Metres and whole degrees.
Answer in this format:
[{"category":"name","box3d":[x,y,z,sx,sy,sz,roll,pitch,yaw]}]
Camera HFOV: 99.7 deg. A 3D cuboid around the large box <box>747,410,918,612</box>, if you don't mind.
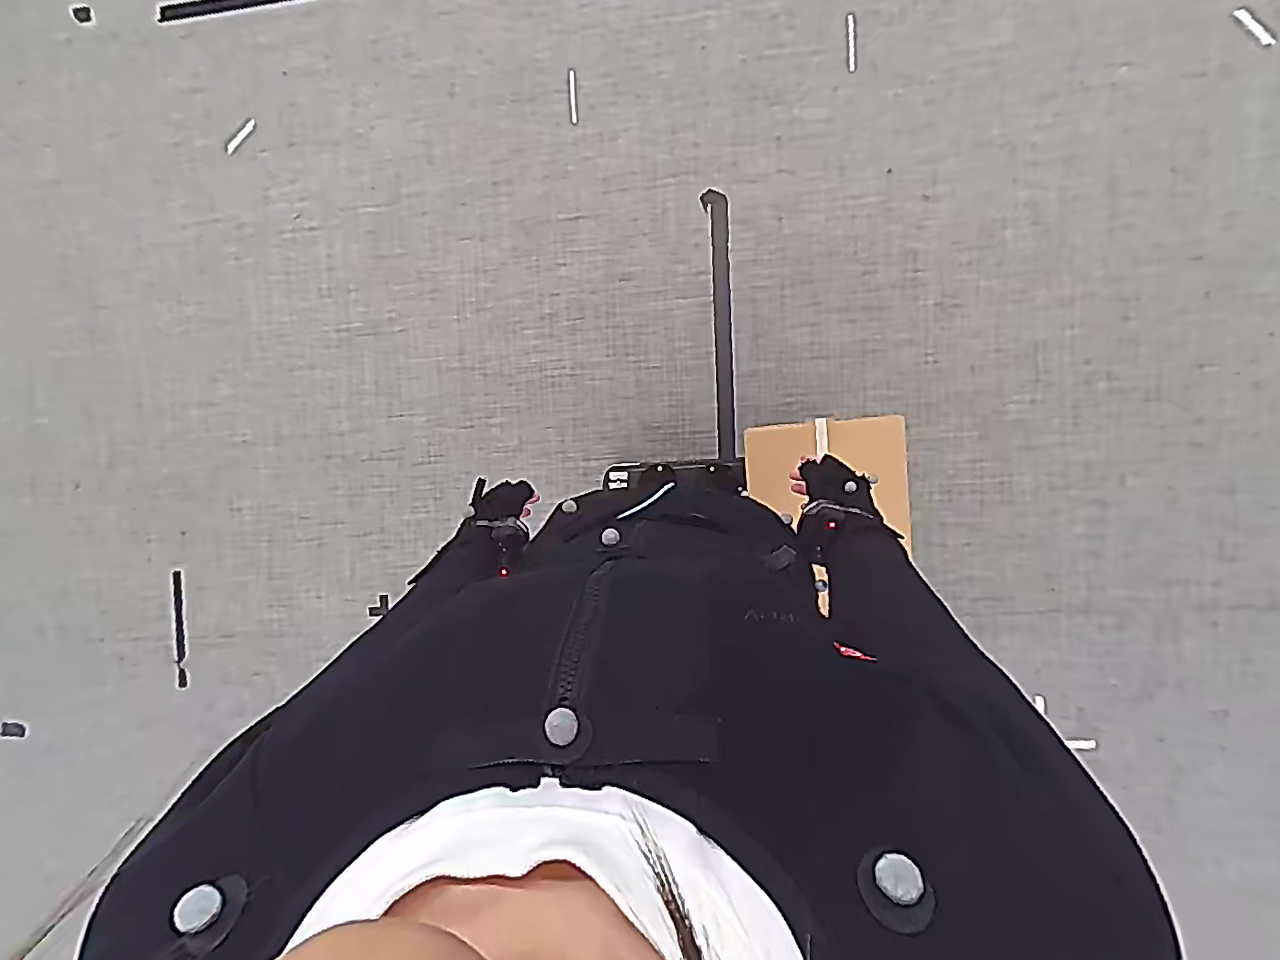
[{"category":"large box","box3d":[0.423,0.059,1.251,0.320,0.320,0.408,-4,94,14]}]
